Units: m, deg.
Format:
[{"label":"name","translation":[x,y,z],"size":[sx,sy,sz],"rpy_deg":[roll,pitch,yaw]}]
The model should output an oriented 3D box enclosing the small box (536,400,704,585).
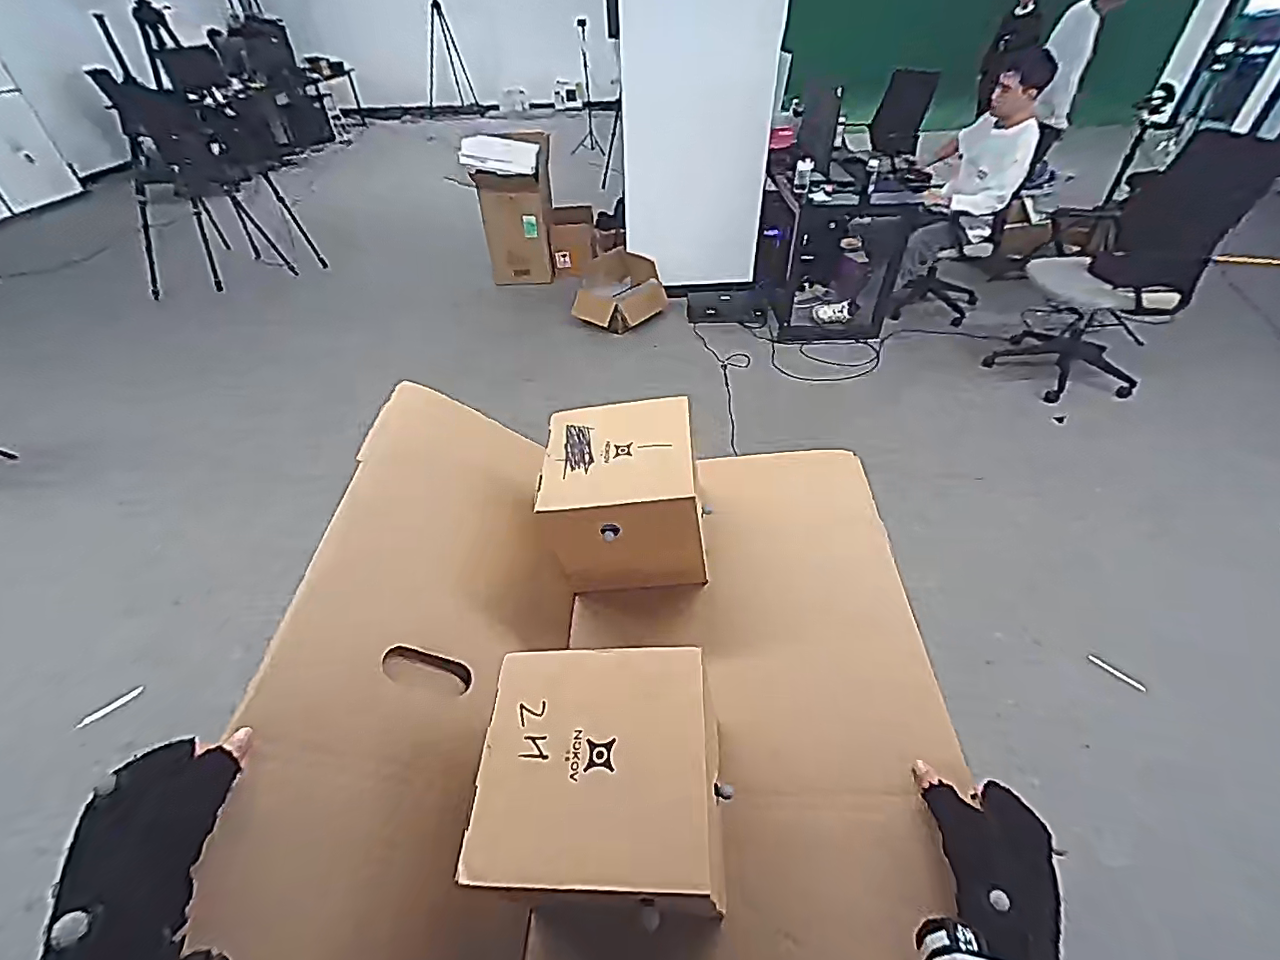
[{"label":"small box","translation":[-0.015,0.022,0.693],"size":[0.179,0.176,0.168],"rpy_deg":[-6,47,7]}]
